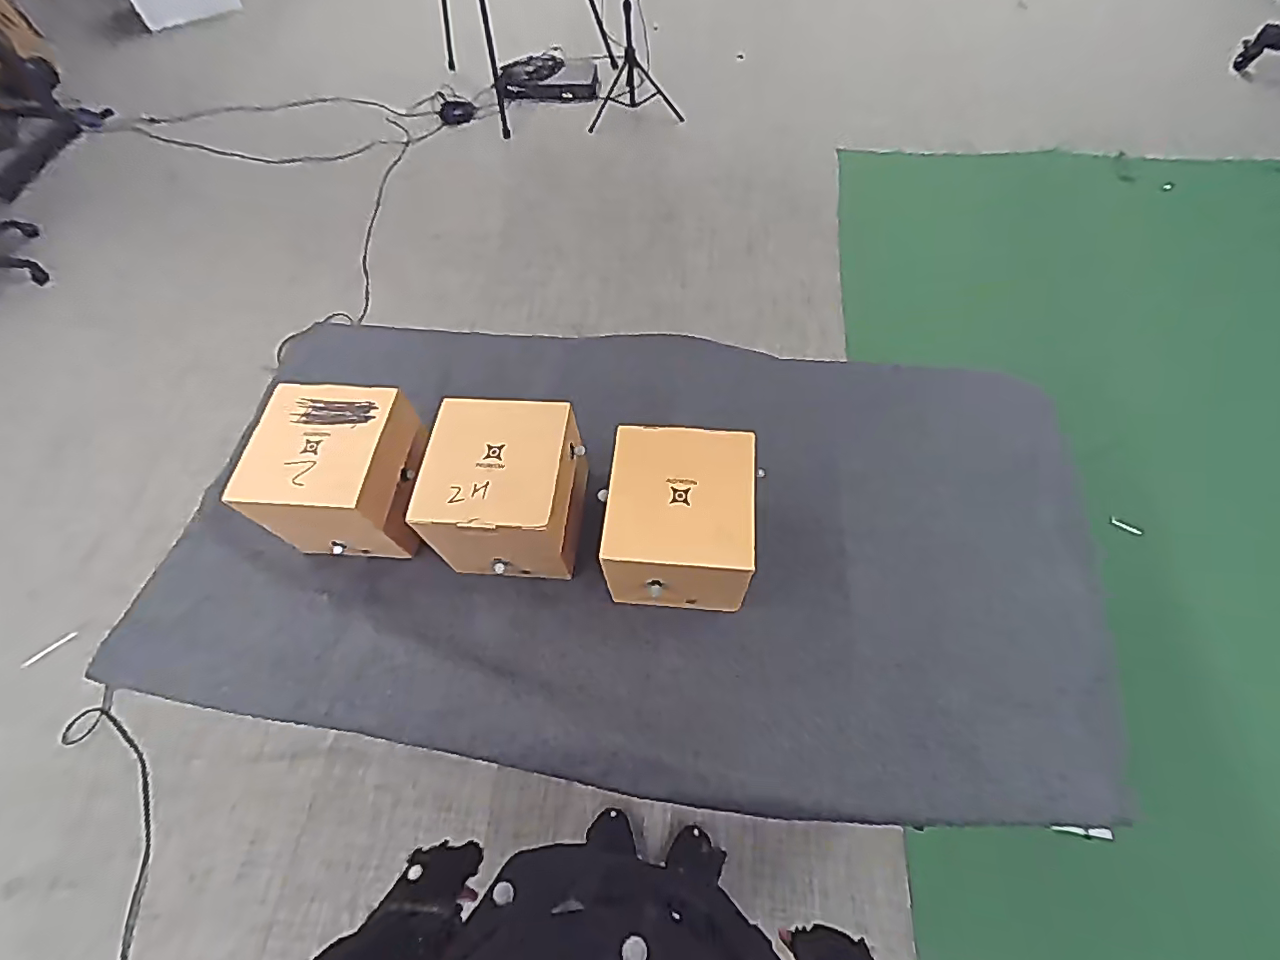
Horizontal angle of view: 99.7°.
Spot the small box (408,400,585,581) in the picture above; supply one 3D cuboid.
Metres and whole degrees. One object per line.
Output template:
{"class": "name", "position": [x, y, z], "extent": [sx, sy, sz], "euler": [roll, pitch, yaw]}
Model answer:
{"class": "small box", "position": [-0.170, 0.017, 0.709], "extent": [0.168, 0.176, 0.179], "euler": [3, 61, 5]}
